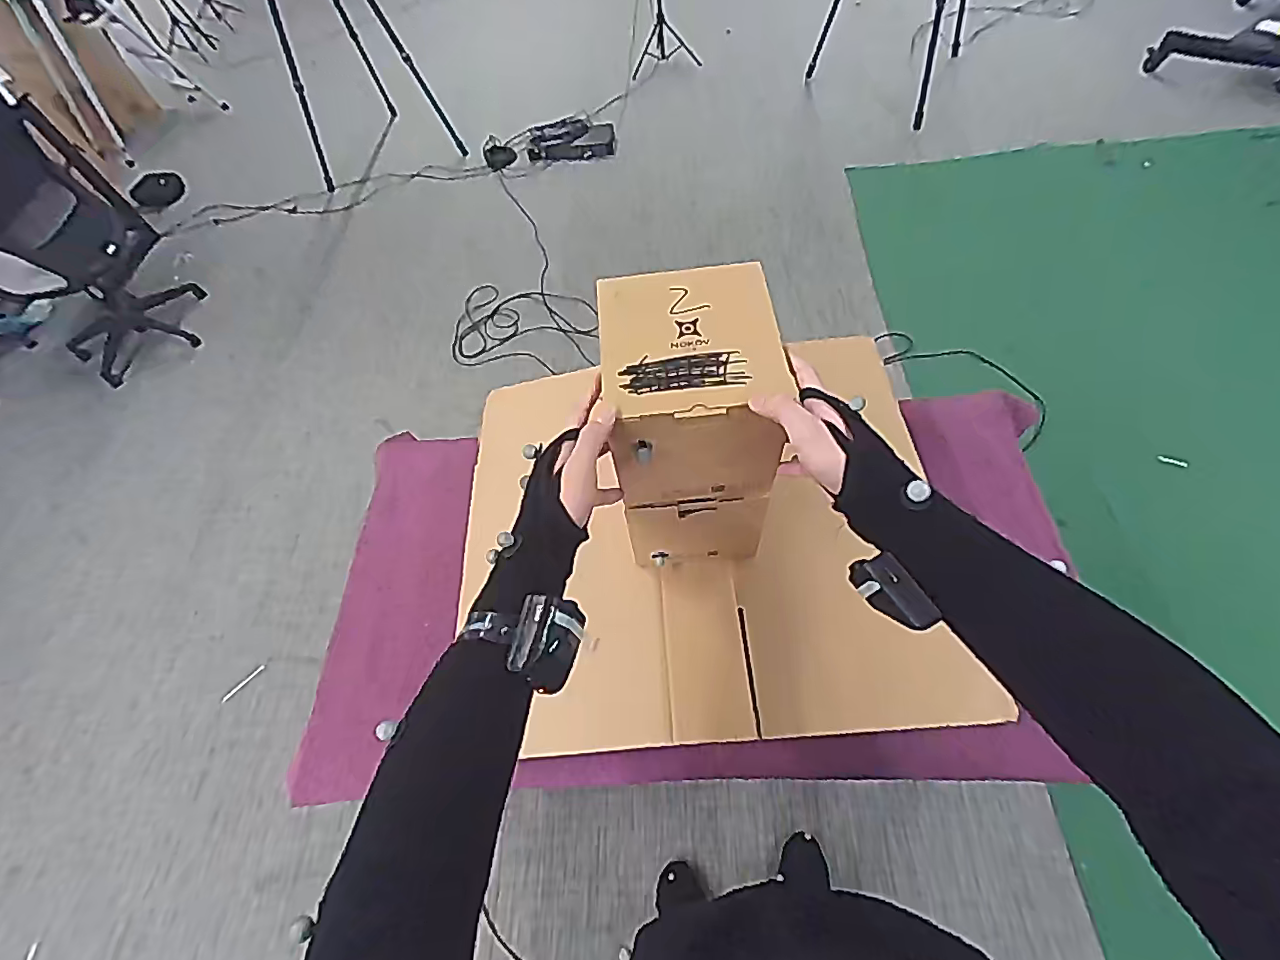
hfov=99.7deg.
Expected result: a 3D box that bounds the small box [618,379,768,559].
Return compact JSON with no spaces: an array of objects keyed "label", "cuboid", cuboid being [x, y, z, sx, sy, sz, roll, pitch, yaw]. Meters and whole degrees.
[{"label":"small box","cuboid":[0.064,-0.005,0.704,0.168,0.176,0.179,-5,58,2]}]
